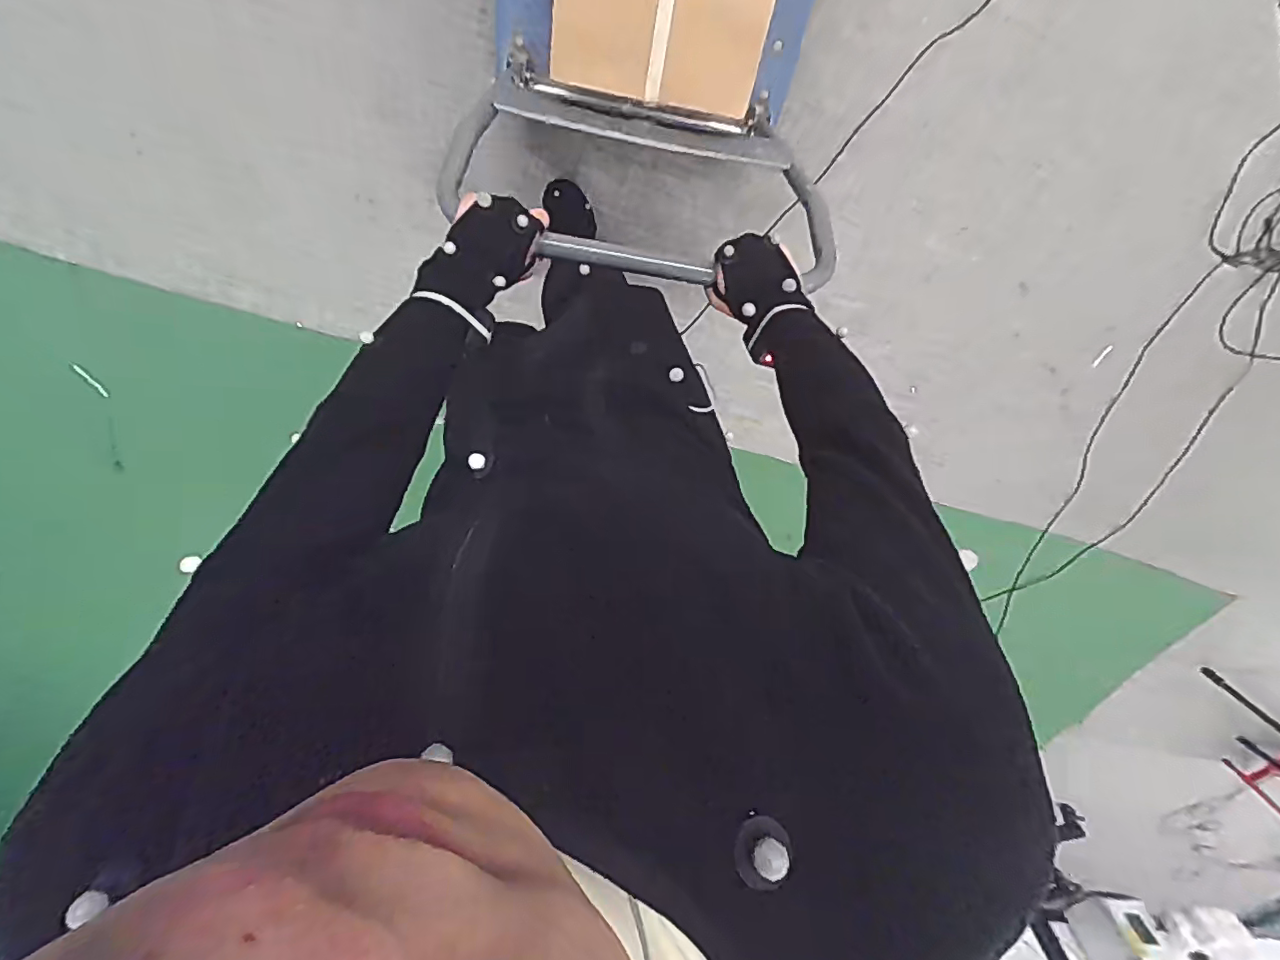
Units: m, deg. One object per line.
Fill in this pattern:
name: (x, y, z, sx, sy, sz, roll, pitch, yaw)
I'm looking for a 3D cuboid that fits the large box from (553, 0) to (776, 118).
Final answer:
large box: (0.049, -0.836, 0.831, 0.320, 0.320, 0.408, 7, 130, -7)
